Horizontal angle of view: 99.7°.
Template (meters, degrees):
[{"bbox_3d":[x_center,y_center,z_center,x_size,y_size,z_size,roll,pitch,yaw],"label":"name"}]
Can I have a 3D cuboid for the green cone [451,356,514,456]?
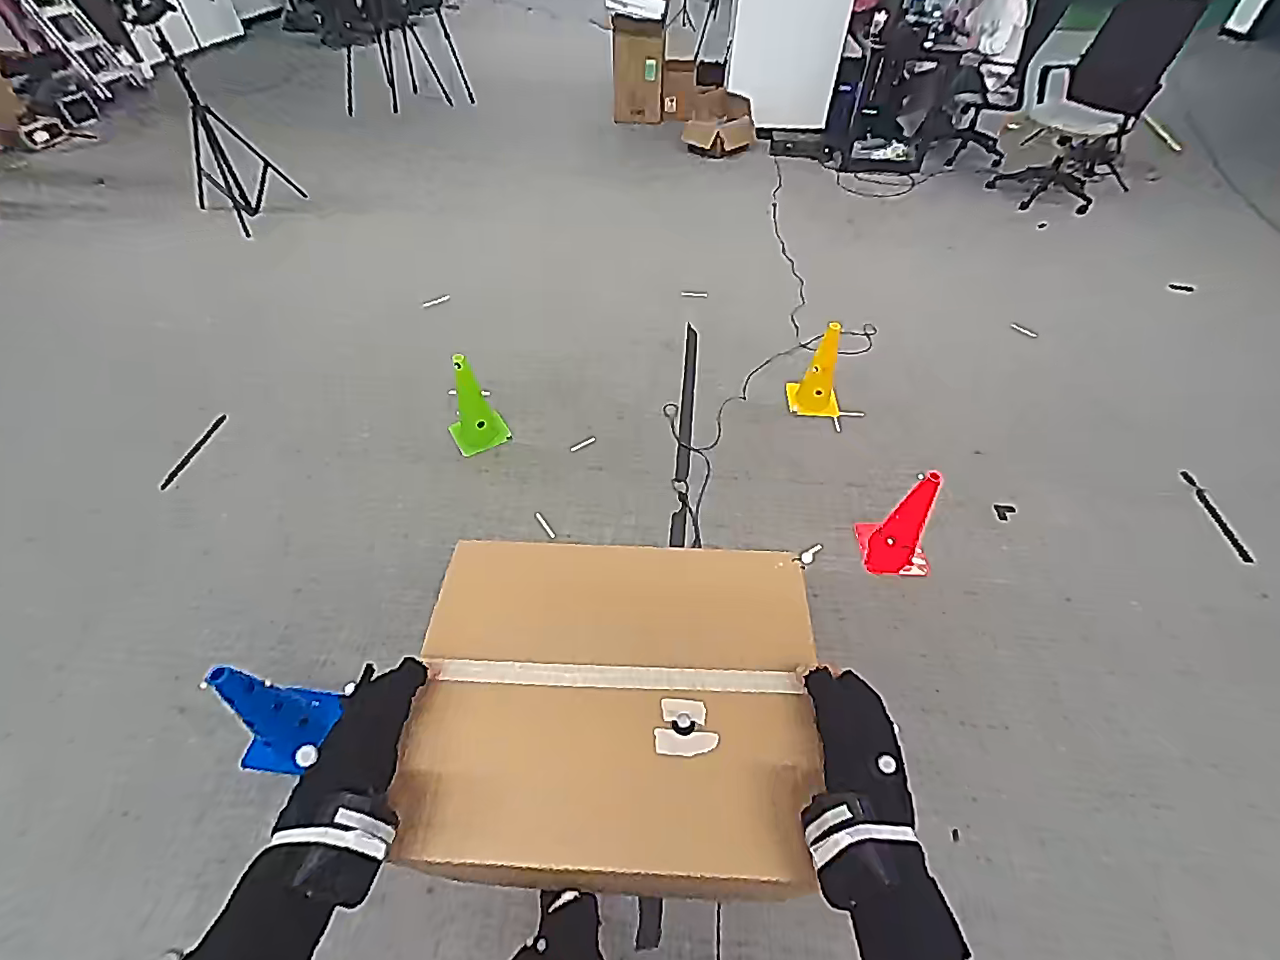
[{"bbox_3d":[-0.619,-0.301,1.985,0.202,0.368,0.200,-26,52,-20],"label":"green cone"}]

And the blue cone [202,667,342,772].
[{"bbox_3d":[-0.881,0.530,1.262,0.192,0.380,0.193,6,48,6],"label":"blue cone"}]

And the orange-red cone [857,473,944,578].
[{"bbox_3d":[0.820,0.110,1.629,0.198,0.360,0.199,3,47,1],"label":"orange-red cone"}]

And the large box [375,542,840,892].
[{"bbox_3d":[-0.025,0.293,0.662,0.408,0.320,0.320,2,50,2],"label":"large box"}]
